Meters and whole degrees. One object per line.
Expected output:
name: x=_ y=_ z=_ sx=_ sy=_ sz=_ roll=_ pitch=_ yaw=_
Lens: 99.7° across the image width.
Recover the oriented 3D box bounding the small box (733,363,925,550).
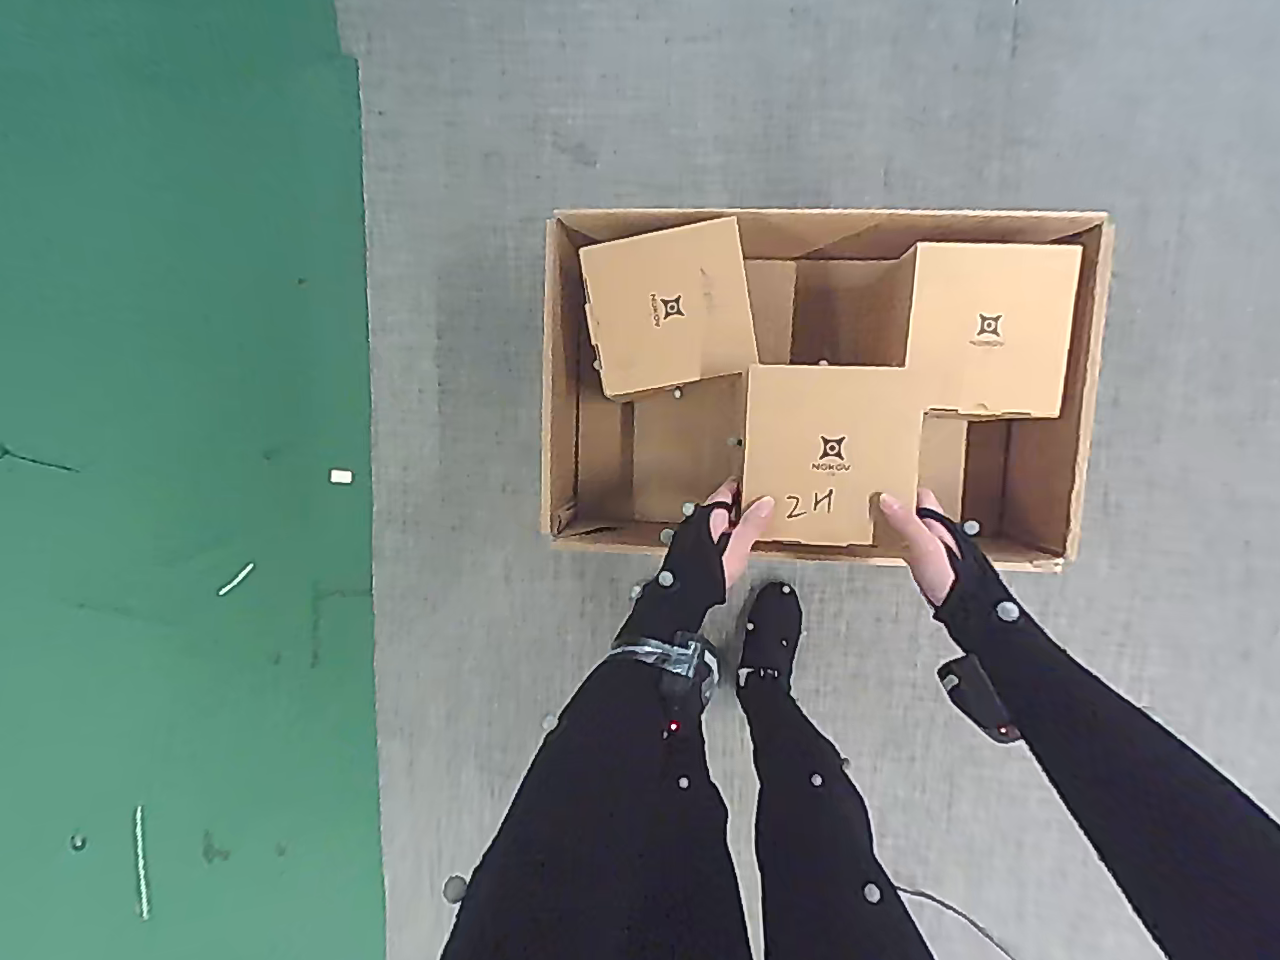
small box: x=0.193 y=-0.028 z=0.602 sx=0.168 sy=0.176 sz=0.179 roll=3 pitch=95 yaw=7
